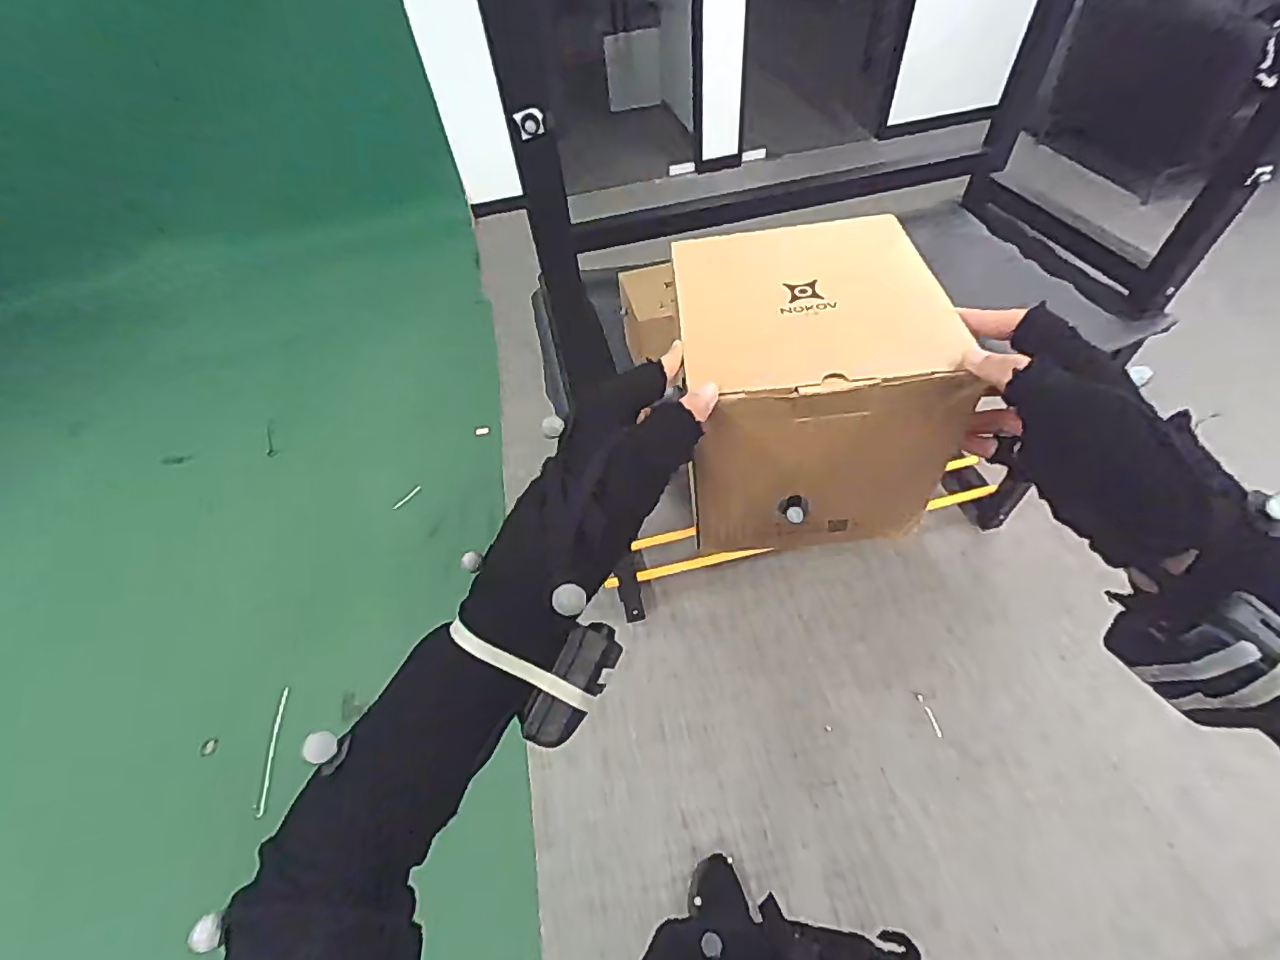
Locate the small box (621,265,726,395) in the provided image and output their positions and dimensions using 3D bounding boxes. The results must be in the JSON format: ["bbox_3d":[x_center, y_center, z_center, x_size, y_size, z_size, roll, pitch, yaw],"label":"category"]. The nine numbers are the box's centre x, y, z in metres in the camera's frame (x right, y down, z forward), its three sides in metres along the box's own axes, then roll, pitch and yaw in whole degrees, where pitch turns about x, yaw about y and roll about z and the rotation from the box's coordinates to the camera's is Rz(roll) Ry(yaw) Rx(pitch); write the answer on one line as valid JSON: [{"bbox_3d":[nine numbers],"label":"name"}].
[{"bbox_3d":[0.064,-0.296,1.076,0.168,0.176,0.179,-13,50,-5],"label":"small box"}]
